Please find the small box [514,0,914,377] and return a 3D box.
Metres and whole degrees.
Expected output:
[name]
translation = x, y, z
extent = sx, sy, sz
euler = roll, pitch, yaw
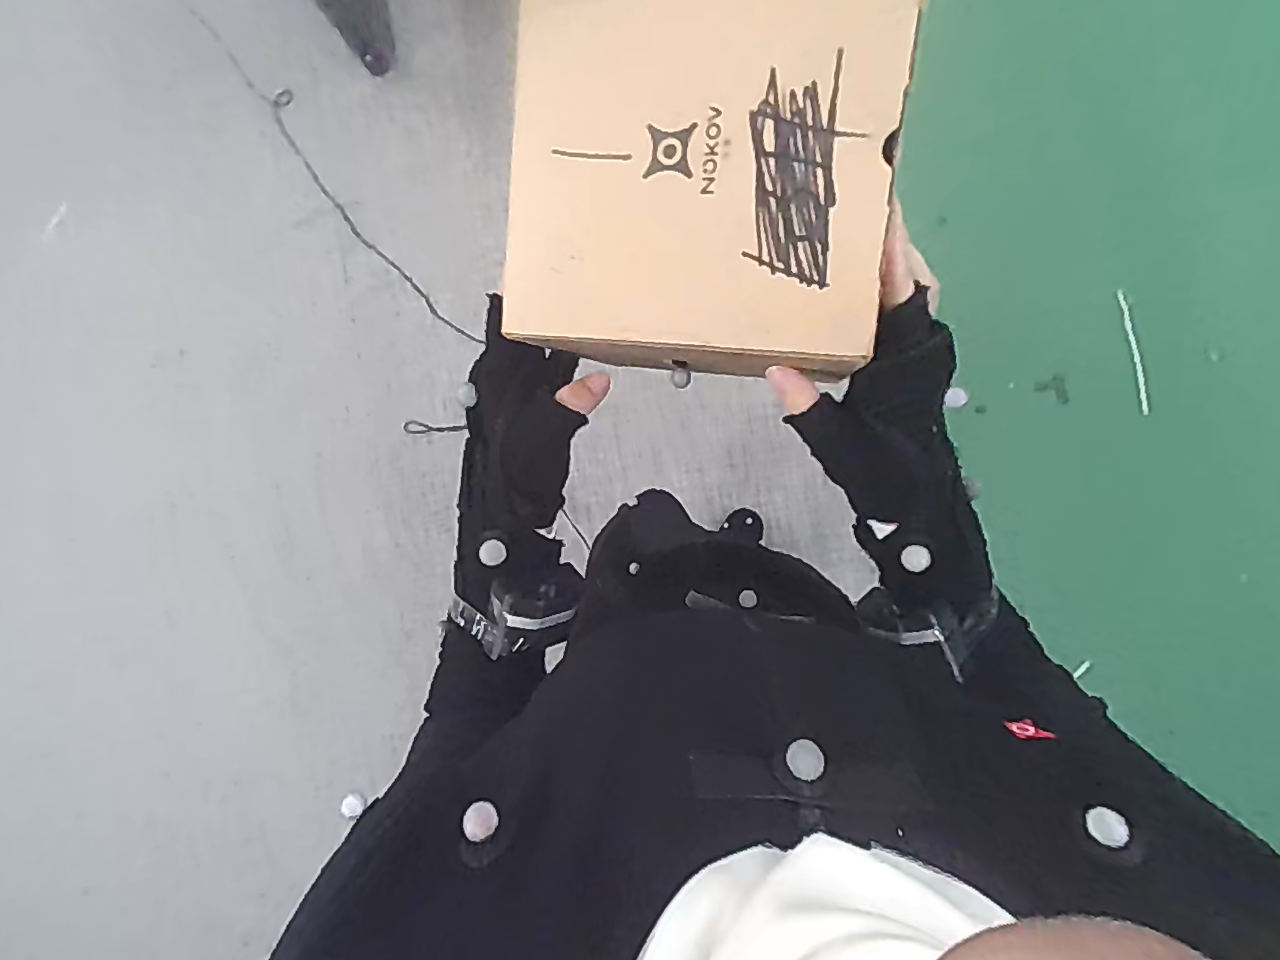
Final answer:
[small box]
translation = 0.042, -0.152, 0.323
extent = 0.179, 0.176, 0.168
euler = 4, 98, 14
